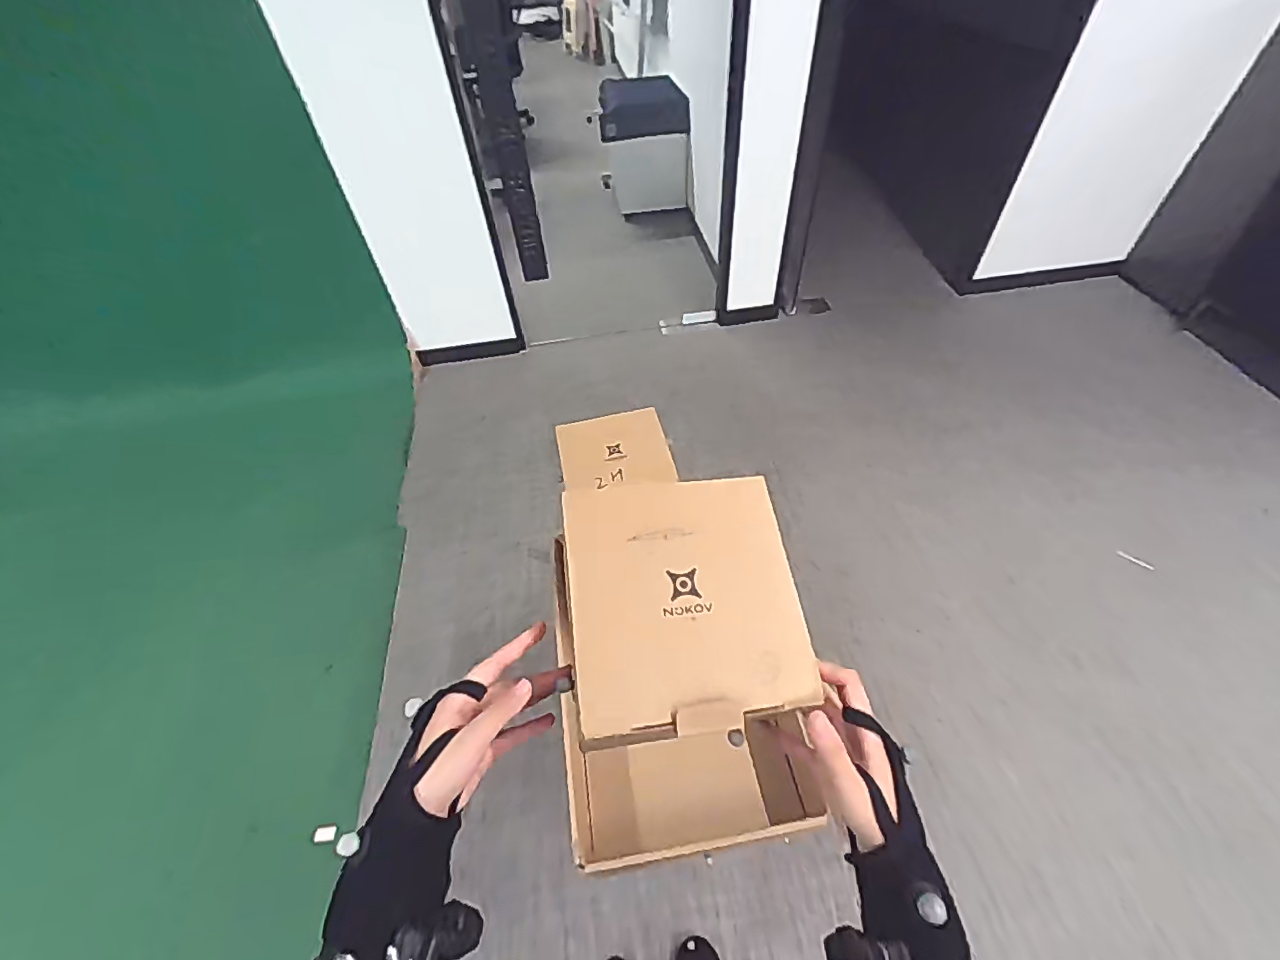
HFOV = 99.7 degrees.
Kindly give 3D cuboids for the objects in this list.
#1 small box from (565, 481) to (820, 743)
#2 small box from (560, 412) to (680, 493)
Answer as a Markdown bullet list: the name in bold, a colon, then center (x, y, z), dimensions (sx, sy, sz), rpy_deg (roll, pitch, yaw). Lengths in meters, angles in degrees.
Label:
- **small box**: center (0.024, 0.119, 0.459), dimensions (0.168, 0.176, 0.179), rpy_deg (-3, 61, -9)
- **small box**: center (-0.030, 0.019, 0.886), dimensions (0.168, 0.176, 0.179), rpy_deg (-12, 51, -4)
